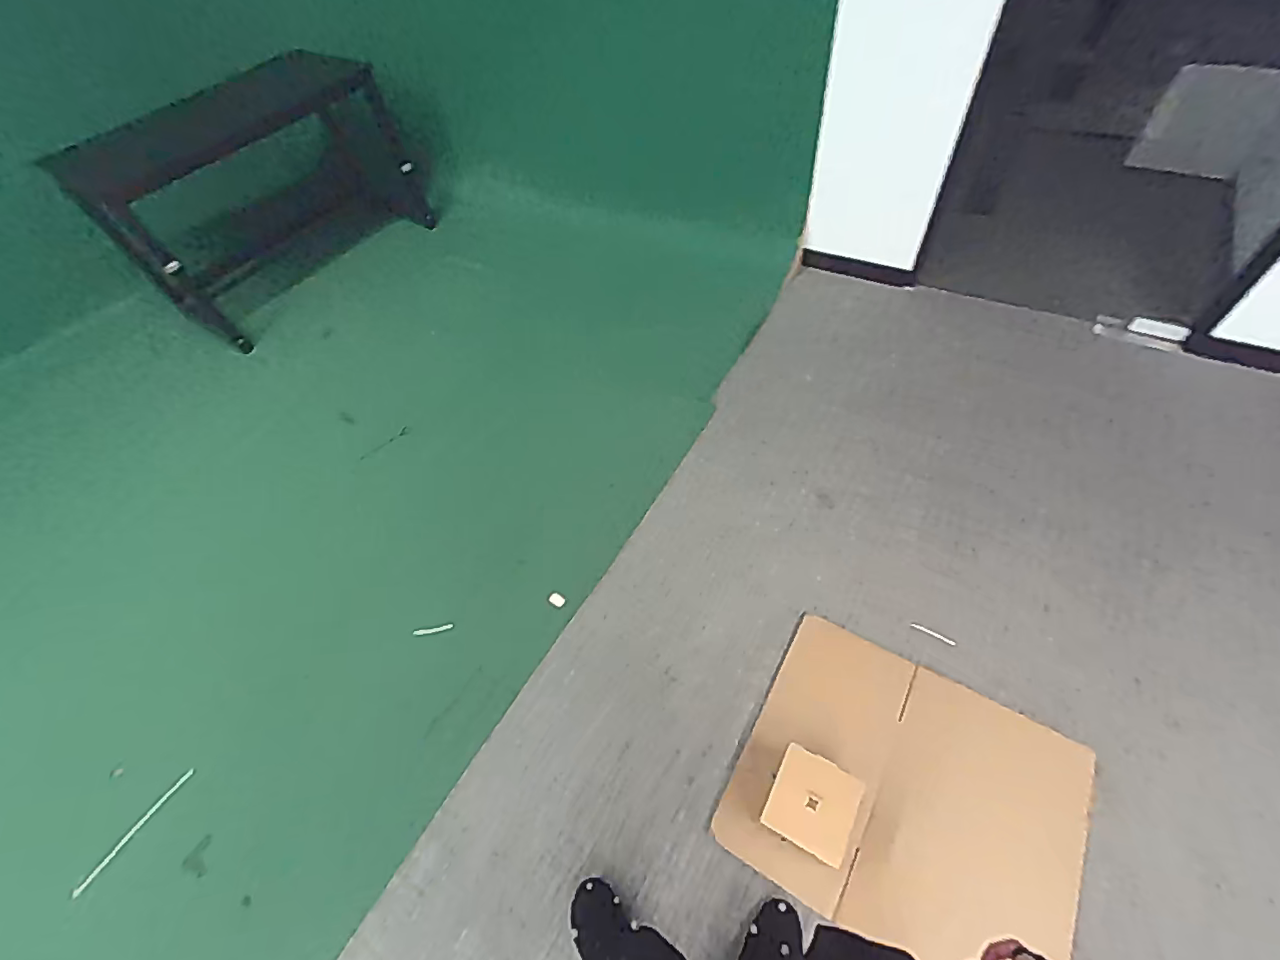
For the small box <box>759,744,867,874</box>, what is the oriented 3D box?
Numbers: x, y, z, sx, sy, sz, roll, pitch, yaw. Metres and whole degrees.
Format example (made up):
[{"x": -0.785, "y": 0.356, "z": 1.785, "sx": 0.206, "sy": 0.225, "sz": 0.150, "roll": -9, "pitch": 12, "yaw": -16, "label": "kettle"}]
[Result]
[{"x": 0.363, "y": 0.706, "z": 1.161, "sx": 0.168, "sy": 0.176, "sz": 0.179, "roll": 23, "pitch": 60, "yaw": 21, "label": "small box"}]
